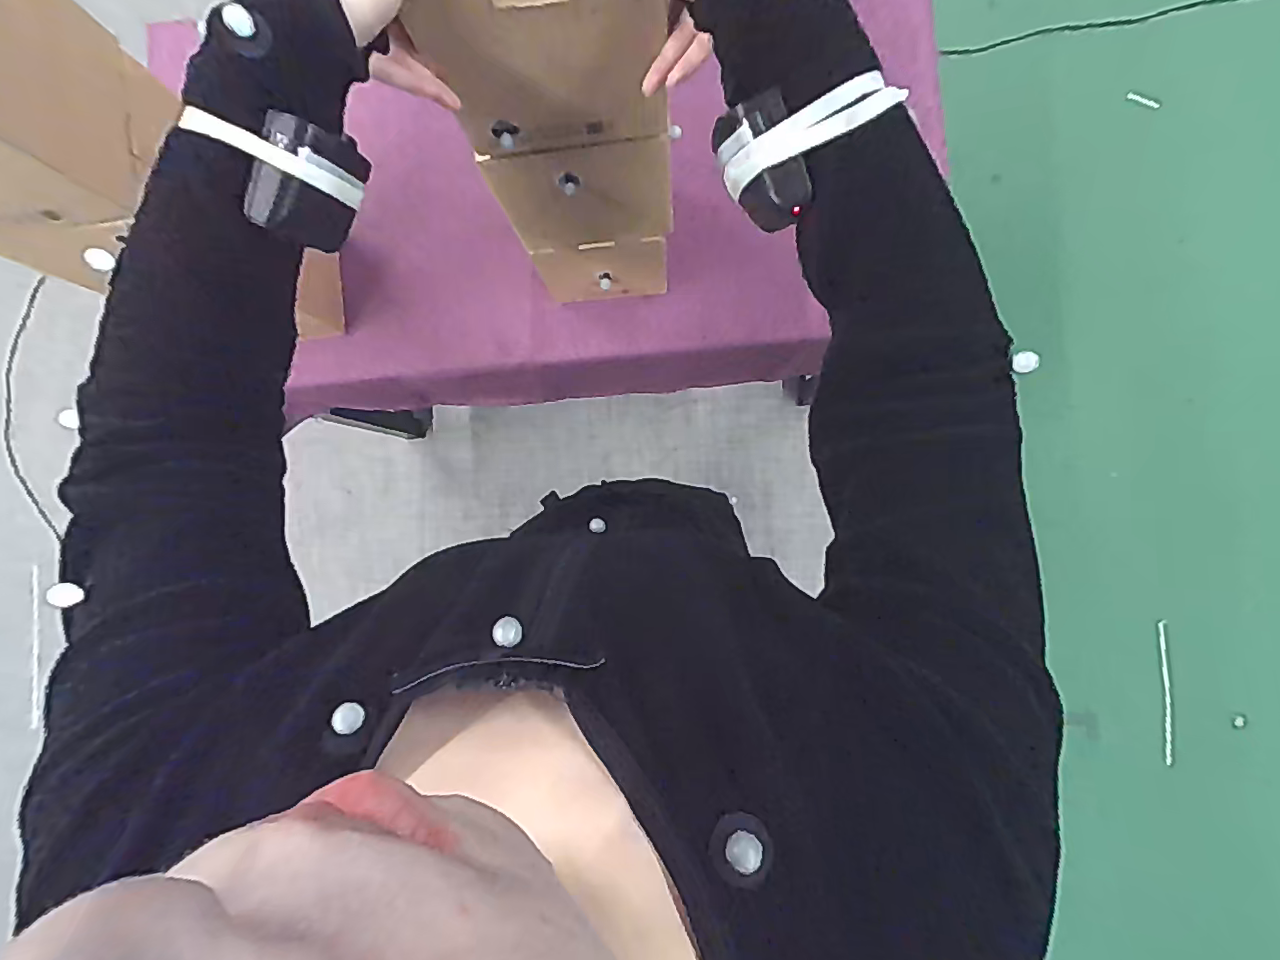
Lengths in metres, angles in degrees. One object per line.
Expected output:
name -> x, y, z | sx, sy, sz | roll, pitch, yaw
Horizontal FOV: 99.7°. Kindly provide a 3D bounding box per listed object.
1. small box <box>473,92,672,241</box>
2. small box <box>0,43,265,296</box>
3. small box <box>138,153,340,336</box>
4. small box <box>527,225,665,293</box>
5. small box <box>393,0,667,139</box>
small box -> -0.060, -0.366, 0.556 | 0.179, 0.176, 0.168 | -5, 88, 3
small box -> -0.552, -0.314, 0.583 | 0.179, 0.176, 0.168 | -8, 88, 1
small box -> -0.540, -0.307, 0.745 | 0.168, 0.176, 0.179 | -5, 87, 2
small box -> -0.054, -0.362, 0.721 | 0.168, 0.176, 0.179 | -4, 88, 3
small box -> -0.067, -0.371, 0.381 | 0.168, 0.176, 0.179 | -5, 89, 2
